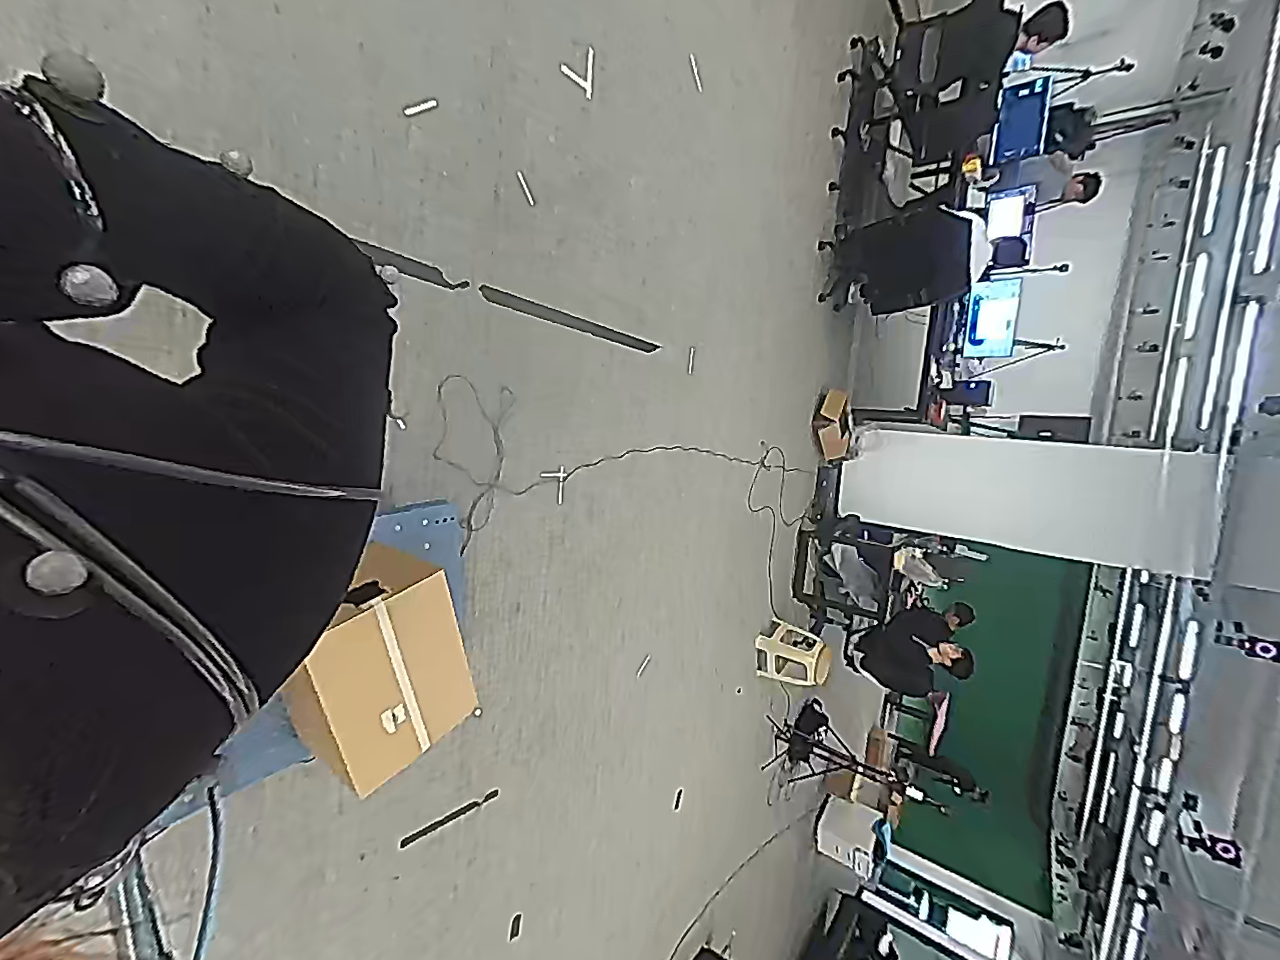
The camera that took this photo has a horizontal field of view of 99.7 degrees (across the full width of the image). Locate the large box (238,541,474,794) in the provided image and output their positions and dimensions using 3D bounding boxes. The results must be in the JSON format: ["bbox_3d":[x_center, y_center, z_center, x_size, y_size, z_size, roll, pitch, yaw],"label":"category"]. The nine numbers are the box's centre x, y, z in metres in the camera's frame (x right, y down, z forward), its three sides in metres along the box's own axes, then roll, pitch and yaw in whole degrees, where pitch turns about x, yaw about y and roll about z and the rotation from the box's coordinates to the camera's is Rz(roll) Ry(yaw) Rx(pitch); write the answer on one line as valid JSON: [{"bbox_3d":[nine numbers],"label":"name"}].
[{"bbox_3d":[-0.644,0.407,1.259,0.320,0.320,0.408,-29,121,-46],"label":"large box"}]
